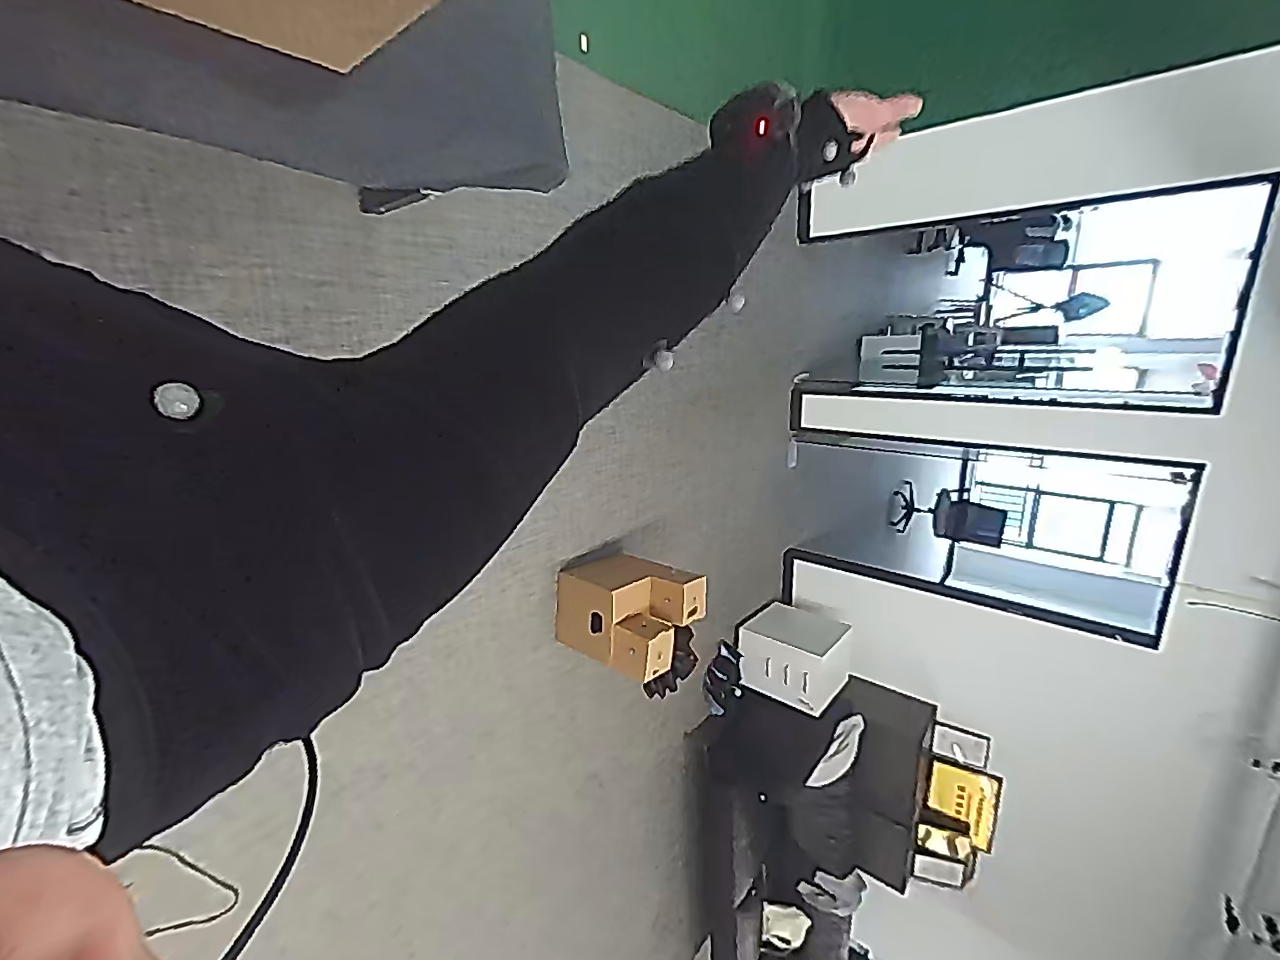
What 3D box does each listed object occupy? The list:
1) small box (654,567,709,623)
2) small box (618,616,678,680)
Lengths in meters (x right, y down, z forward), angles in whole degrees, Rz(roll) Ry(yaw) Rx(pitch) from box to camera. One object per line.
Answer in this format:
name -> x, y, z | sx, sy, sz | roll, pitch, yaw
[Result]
small box -> 0.169, 0.472, 2.245 | 0.168, 0.176, 0.179 | -8, 101, -51
small box -> 0.030, 0.643, 2.101 | 0.168, 0.176, 0.179 | -9, 105, -51
